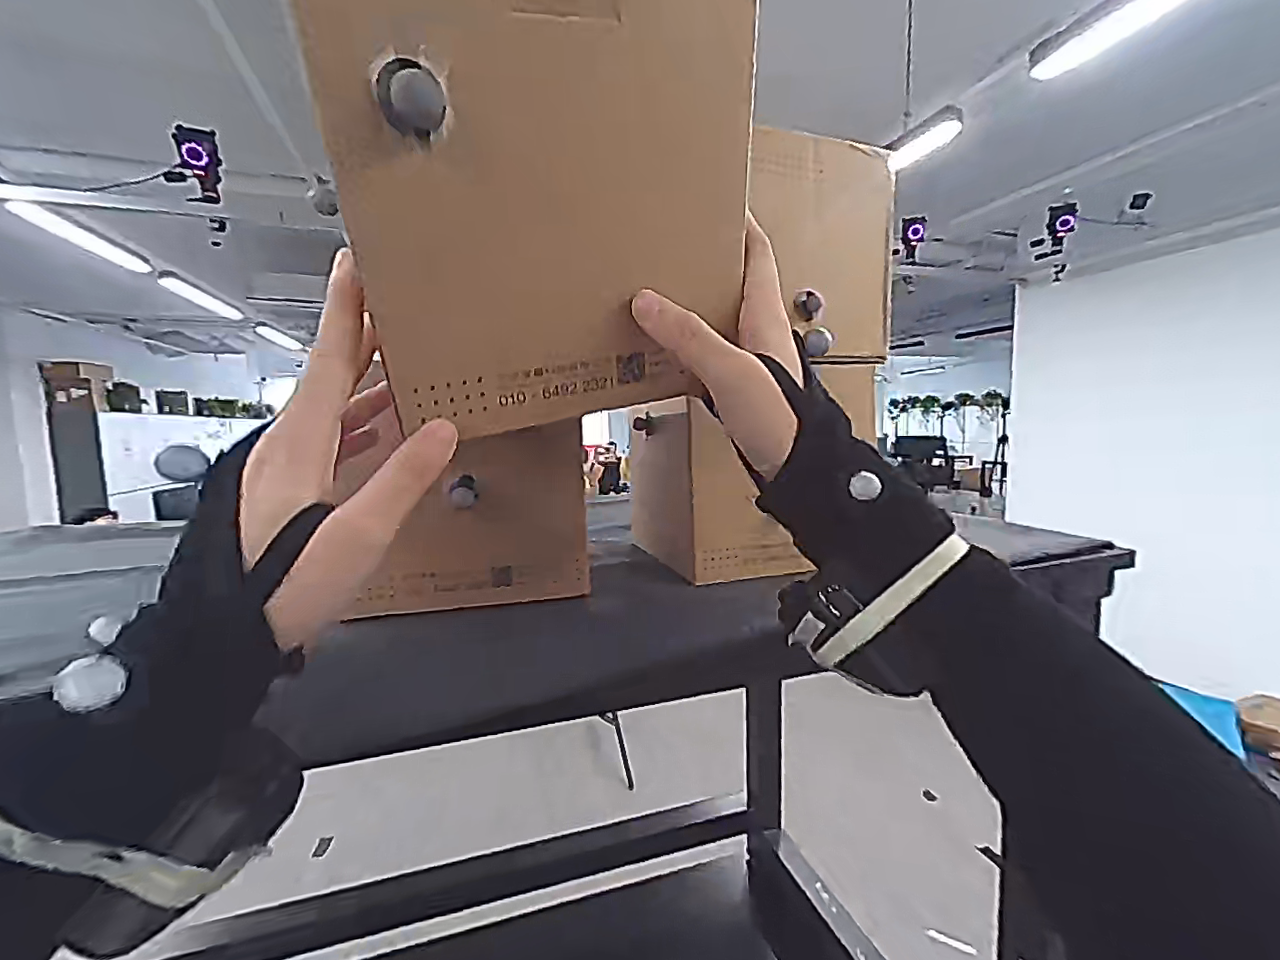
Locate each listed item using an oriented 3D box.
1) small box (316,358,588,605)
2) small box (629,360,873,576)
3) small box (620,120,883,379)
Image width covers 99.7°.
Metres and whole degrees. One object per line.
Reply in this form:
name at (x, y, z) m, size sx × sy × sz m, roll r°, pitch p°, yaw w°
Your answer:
small box at (-0.137, -0.002, 0.439) m, size 0.168 × 0.176 × 0.179 m, roll -3°, pitch 5°, yaw -14°
small box at (0.091, -0.016, 0.503) m, size 0.168 × 0.176 × 0.179 m, roll -5°, pitch 6°, yaw -16°
small box at (0.090, -0.181, 0.477) m, size 0.179 × 0.176 × 0.168 m, roll -3°, pitch 5°, yaw -21°
